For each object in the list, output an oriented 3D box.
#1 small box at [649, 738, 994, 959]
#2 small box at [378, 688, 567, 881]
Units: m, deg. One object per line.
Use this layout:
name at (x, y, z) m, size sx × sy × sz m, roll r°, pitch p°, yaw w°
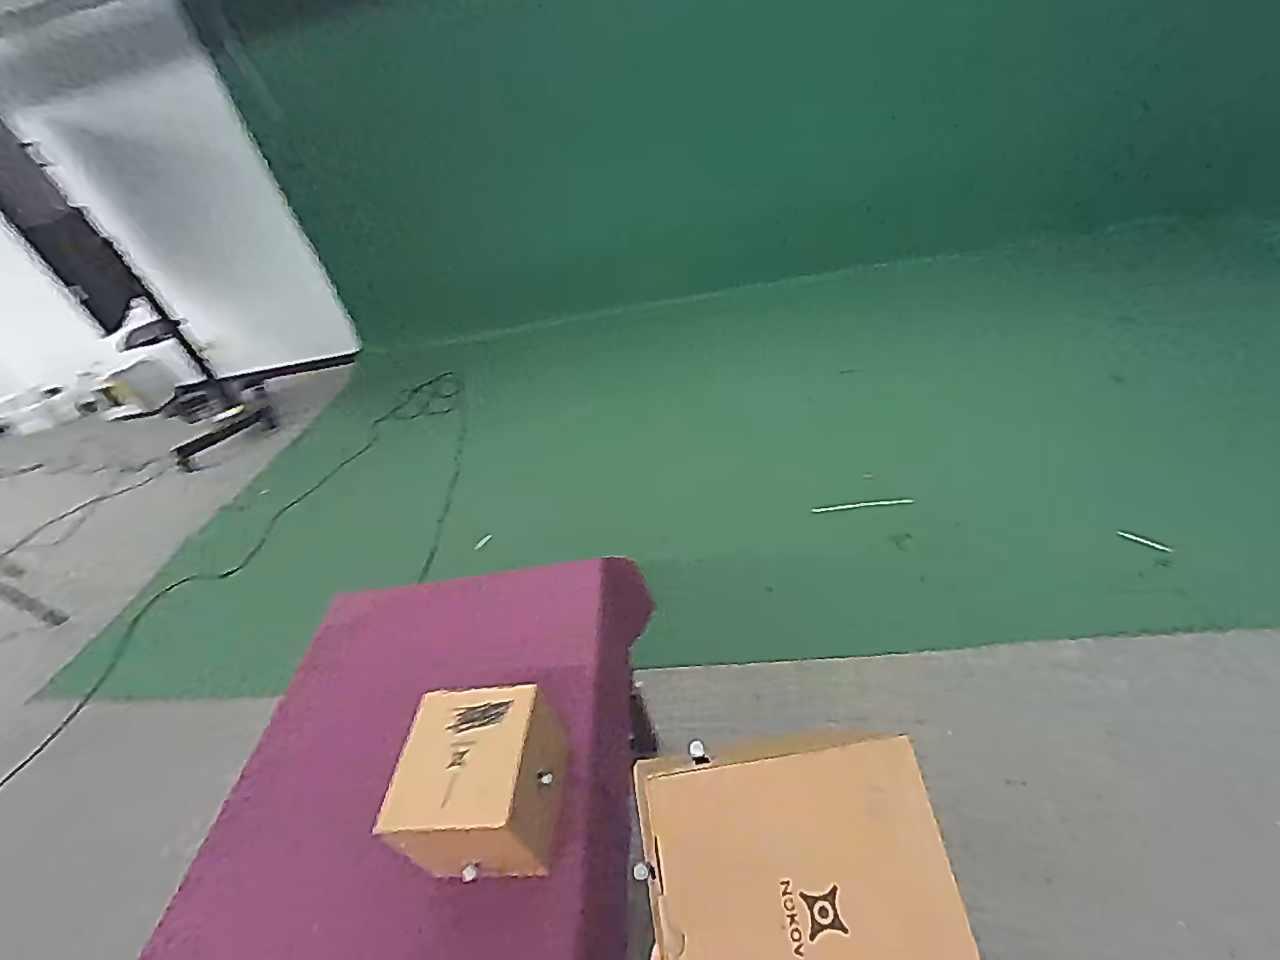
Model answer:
small box at (0.105, 0.282, 0.378) m, size 0.179 × 0.176 × 0.168 m, roll -7°, pitch 65°, yaw -4°
small box at (-0.206, 0.408, 0.725) m, size 0.168 × 0.176 × 0.179 m, roll -9°, pitch 39°, yaw 9°
